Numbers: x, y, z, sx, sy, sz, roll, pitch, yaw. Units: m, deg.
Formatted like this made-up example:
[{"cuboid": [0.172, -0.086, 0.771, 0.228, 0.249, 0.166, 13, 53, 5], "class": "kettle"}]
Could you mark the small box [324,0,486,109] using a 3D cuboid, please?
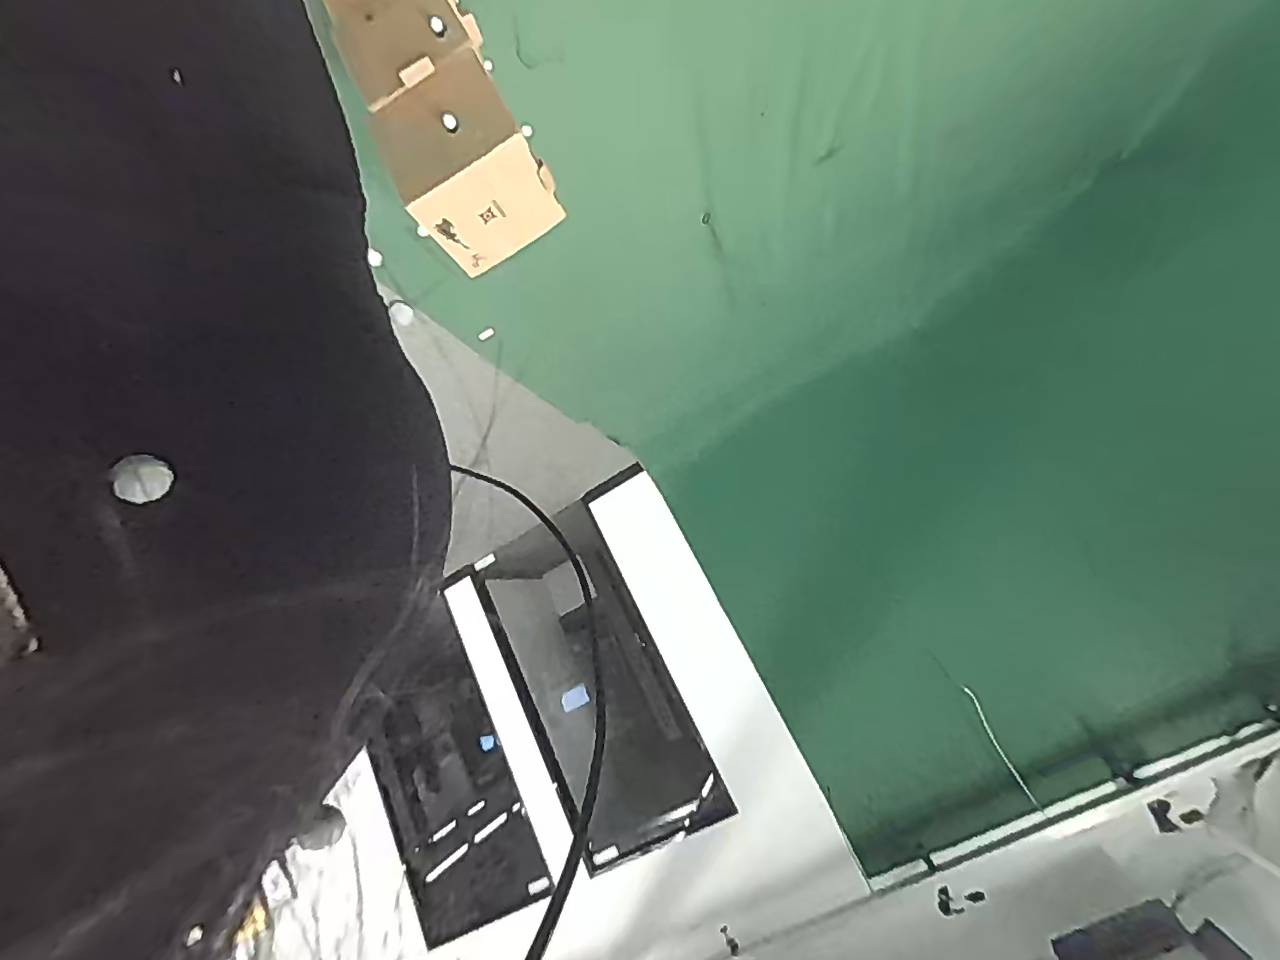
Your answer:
[{"cuboid": [-0.378, -0.721, 0.867, 0.179, 0.176, 0.168, -28, 164, 1], "class": "small box"}]

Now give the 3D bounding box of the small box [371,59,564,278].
[{"cuboid": [-0.241, -0.437, 0.771, 0.179, 0.176, 0.168, -30, 165, 5], "class": "small box"}]
